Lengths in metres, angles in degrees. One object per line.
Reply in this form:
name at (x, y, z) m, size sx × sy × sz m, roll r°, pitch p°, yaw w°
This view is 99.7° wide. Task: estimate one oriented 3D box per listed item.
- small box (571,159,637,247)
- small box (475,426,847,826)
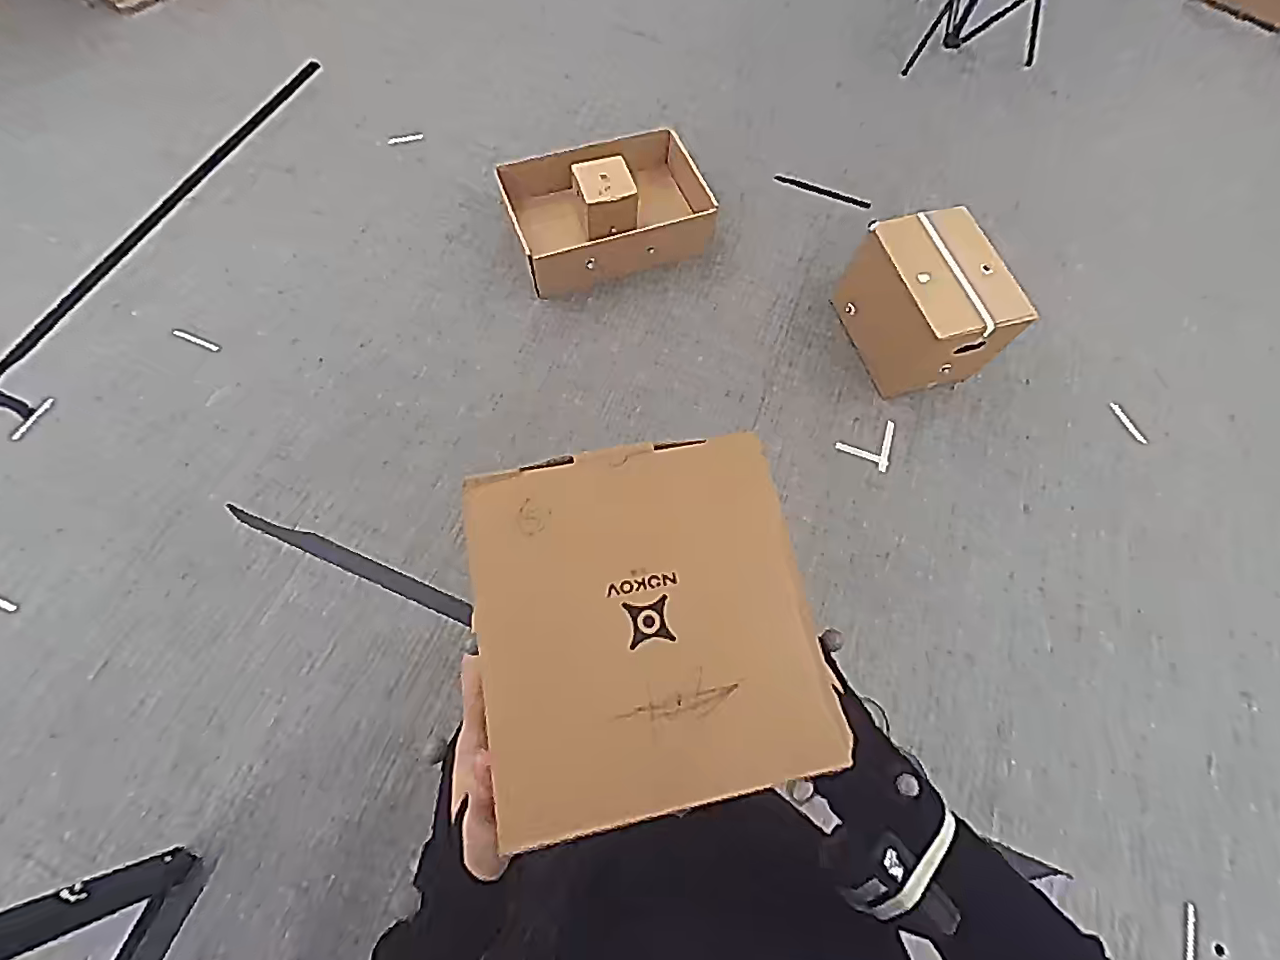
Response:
small box at (-0.117, -0.887, 1.735) m, size 0.168 × 0.176 × 0.179 m, roll -17°, pitch 70°, yaw -9°
small box at (-0.002, 0.085, 0.347) m, size 0.168 × 0.176 × 0.179 m, roll -8°, pitch 73°, yaw -8°
